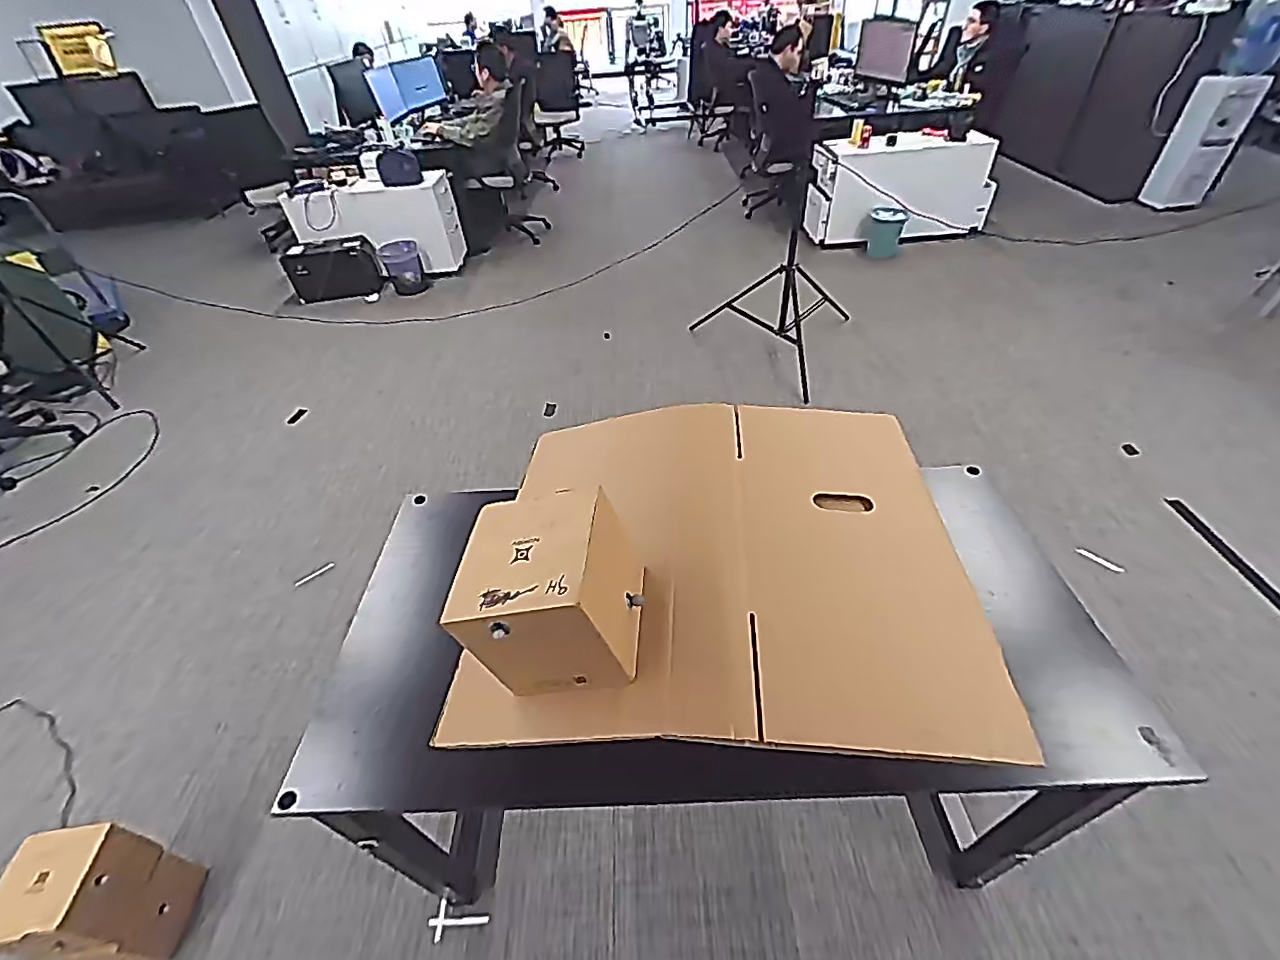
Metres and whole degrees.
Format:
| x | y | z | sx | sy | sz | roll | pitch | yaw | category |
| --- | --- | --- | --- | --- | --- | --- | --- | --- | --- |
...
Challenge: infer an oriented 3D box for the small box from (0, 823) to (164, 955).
| x | y | z | sx | sy | sz | roll | pitch | yaw | category |
| --- | --- | --- | --- | --- | --- | --- | --- | --- | --- |
| -1.124 | 0.825 | 1.086 | 0.168 | 0.176 | 0.179 | -7 | 41 | -4 | small box |

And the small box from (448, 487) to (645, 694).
| x | y | z | sx | sy | sz | roll | pitch | yaw | category |
| --- | --- | --- | --- | --- | --- | --- | --- | --- | --- |
| -0.098 | 0.139 | 0.668 | 0.168 | 0.176 | 0.179 | -12 | 40 | 16 | small box |

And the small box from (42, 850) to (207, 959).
| x | y | z | sx | sy | sz | roll | pitch | yaw | category |
| --- | --- | --- | --- | --- | --- | --- | --- | --- | --- |
| -1.112 | 0.948 | 1.191 | 0.168 | 0.176 | 0.179 | -6 | 43 | -1 | small box |
